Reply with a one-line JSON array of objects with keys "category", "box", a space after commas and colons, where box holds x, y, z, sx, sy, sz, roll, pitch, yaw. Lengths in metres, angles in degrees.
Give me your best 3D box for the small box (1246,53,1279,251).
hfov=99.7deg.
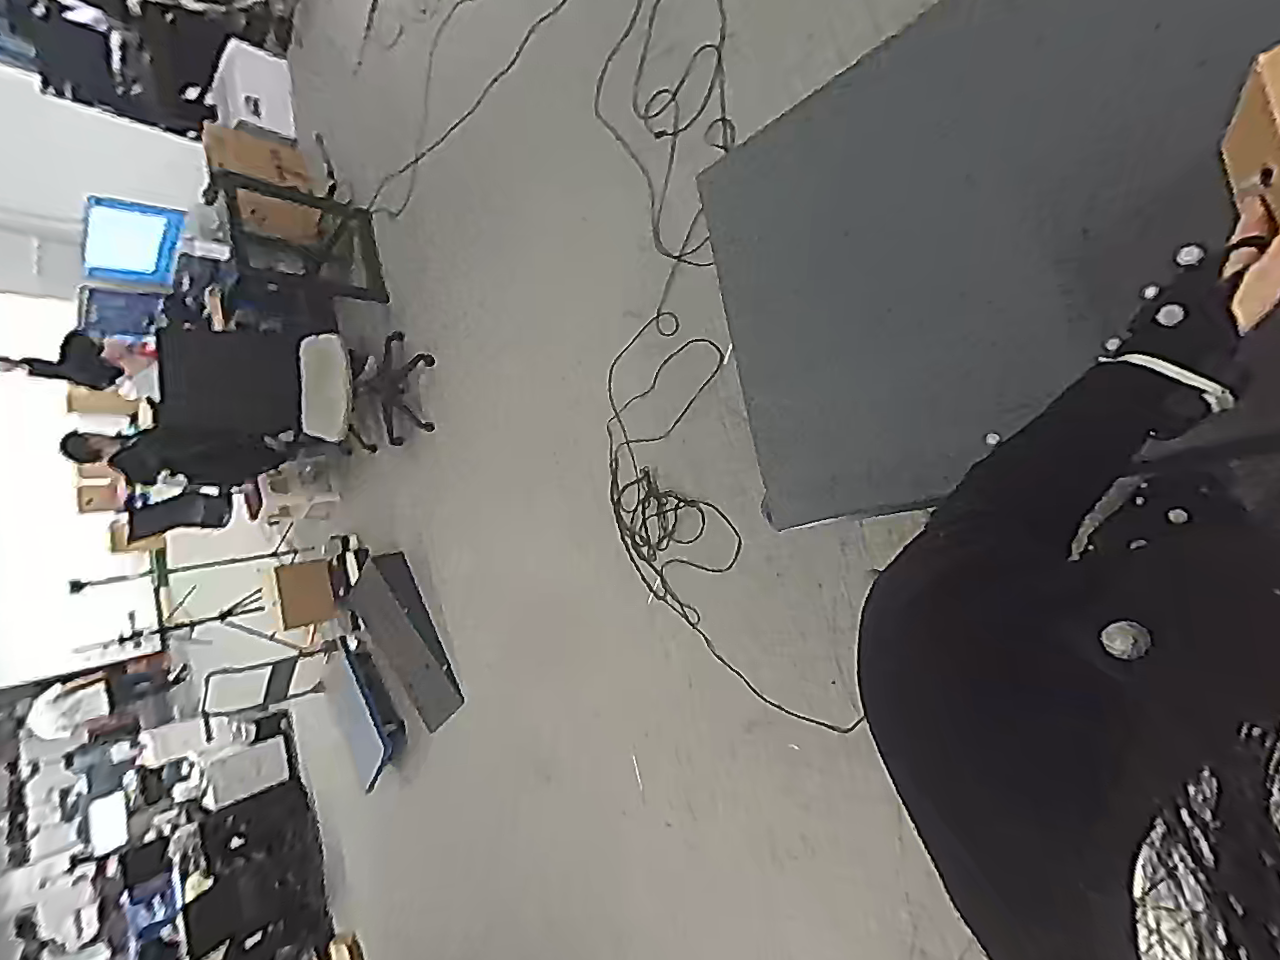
[{"category": "small box", "box": [0.583, -0.260, 0.386, 0.168, 0.176, 0.179, -16, 84, 42]}]
